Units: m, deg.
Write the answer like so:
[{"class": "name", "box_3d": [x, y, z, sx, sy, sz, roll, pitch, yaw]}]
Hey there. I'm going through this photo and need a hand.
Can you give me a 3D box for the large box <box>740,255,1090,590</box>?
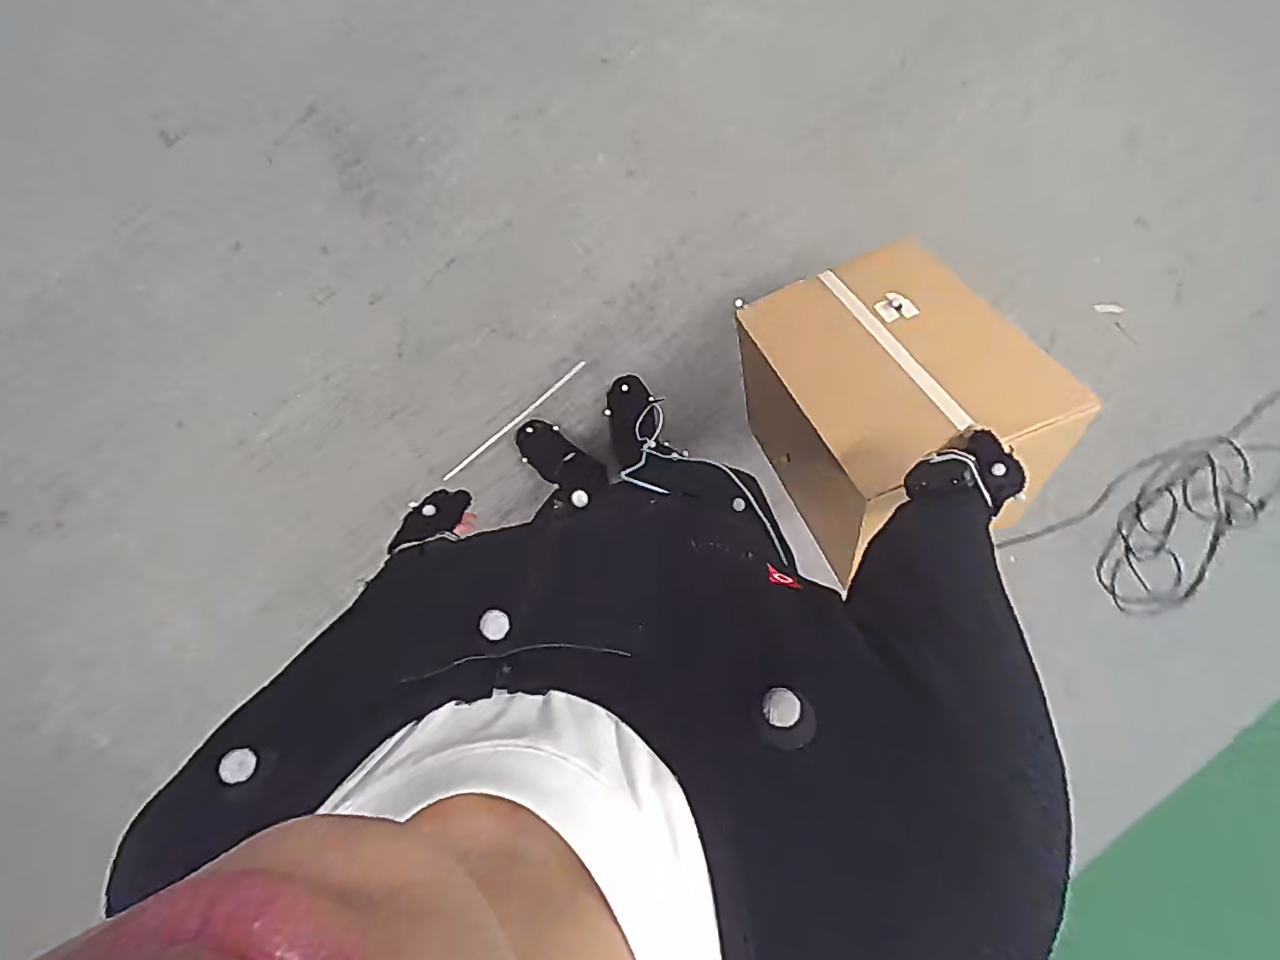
[{"class": "large box", "box_3d": [0.405, -0.092, 0.914, 0.320, 0.408, 0.320, -22, 144, 1]}]
